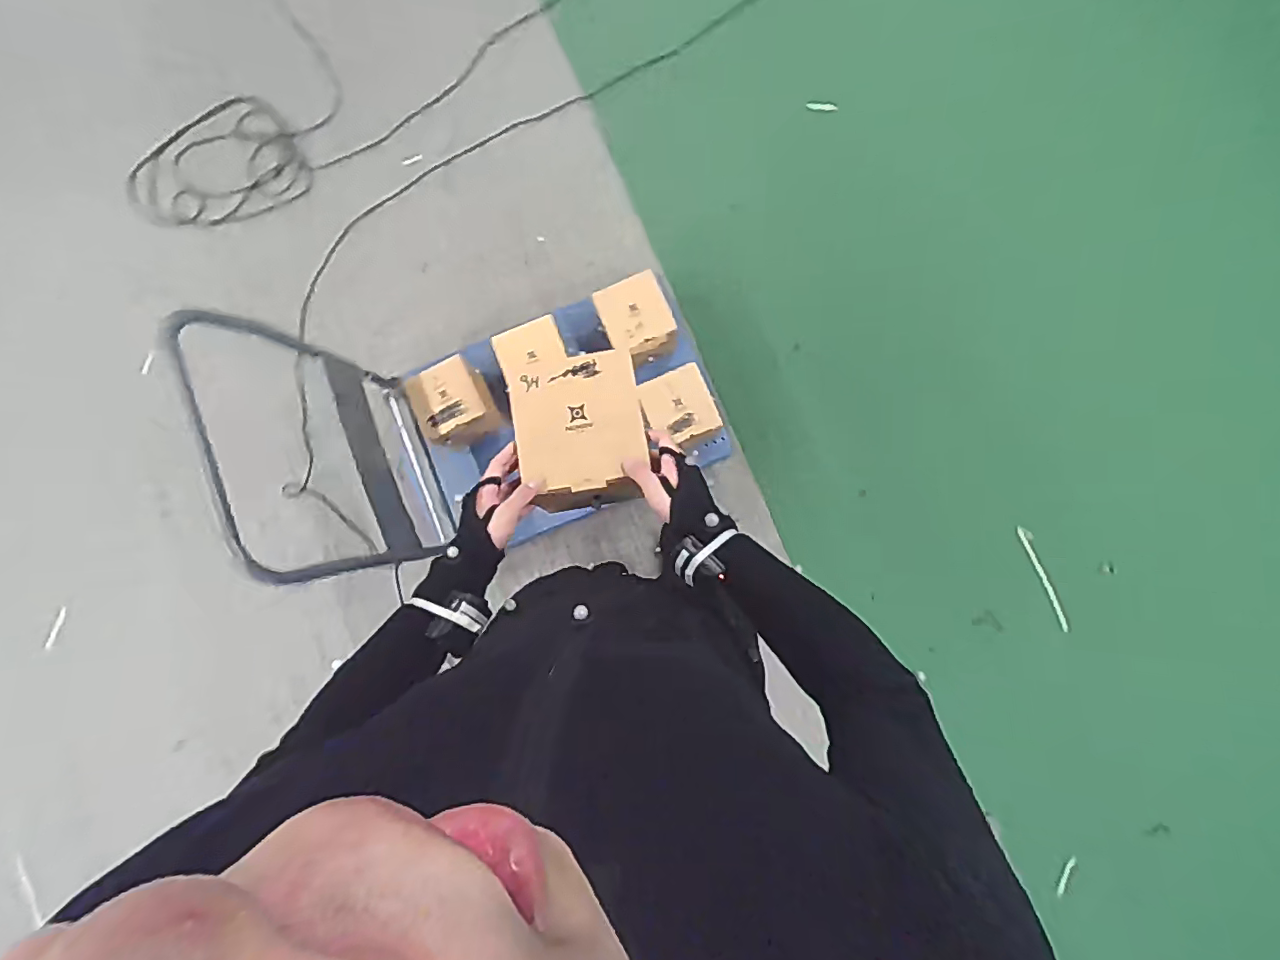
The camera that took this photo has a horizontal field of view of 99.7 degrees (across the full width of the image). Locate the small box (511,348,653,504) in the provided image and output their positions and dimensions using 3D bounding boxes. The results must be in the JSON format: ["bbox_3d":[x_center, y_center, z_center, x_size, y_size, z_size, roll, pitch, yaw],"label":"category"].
[{"bbox_3d":[-0.074,-0.064,0.771,0.168,0.176,0.179,-9,80,-1],"label":"small box"}]

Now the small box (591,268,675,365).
[{"bbox_3d":[-0.015,-0.420,1.435,0.168,0.176,0.179,-23,85,2],"label":"small box"}]

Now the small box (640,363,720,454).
[{"bbox_3d":[0.097,-0.178,1.427,0.168,0.176,0.179,-23,84,0],"label":"small box"}]

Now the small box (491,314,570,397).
[{"bbox_3d":[-0.271,-0.307,1.441,0.168,0.176,0.179,-22,86,0],"label":"small box"}]
